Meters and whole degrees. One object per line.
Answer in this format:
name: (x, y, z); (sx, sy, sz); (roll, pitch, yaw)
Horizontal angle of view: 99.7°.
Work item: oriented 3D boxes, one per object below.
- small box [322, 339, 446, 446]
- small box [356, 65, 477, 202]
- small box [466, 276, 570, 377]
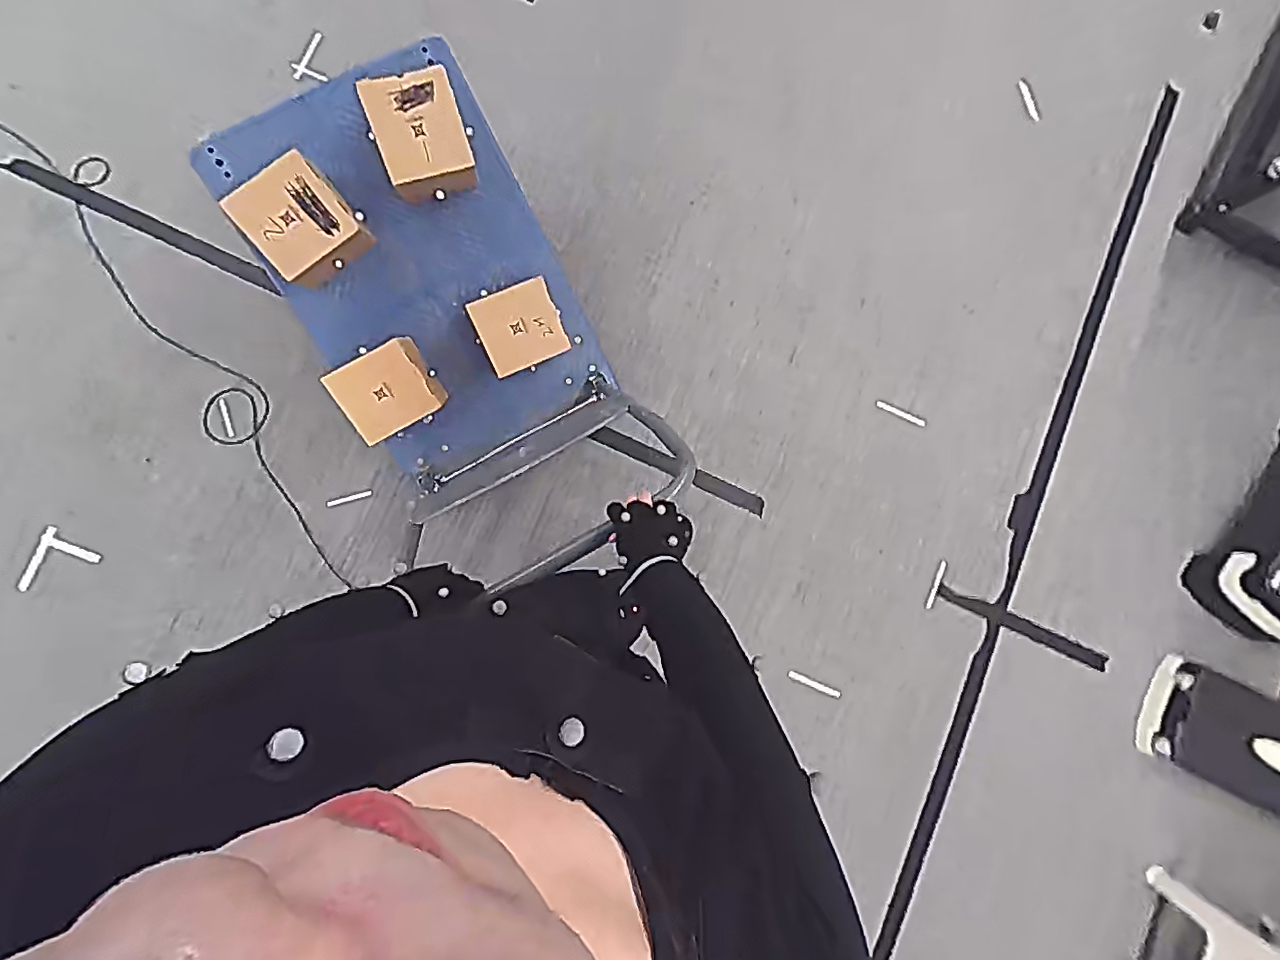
small box: (-0.554, -0.198, 1.199); (0.179, 0.176, 0.168); (-31, 110, -6)
small box: (-0.440, -0.687, 1.091); (0.168, 0.176, 0.179); (-19, 110, -8)
small box: (-0.274, -0.346, 1.229); (0.179, 0.176, 0.168); (-24, 110, -6)
